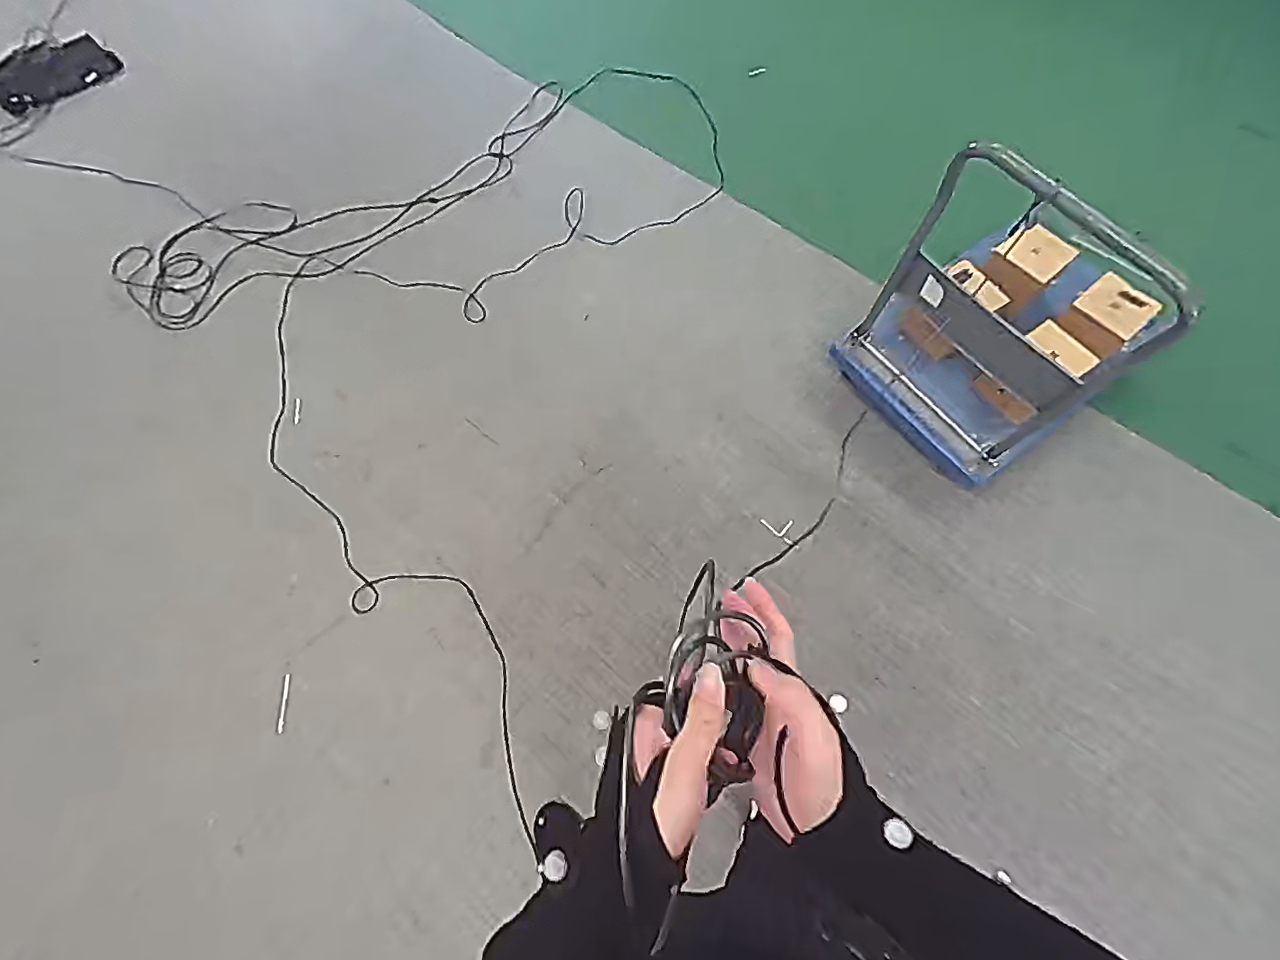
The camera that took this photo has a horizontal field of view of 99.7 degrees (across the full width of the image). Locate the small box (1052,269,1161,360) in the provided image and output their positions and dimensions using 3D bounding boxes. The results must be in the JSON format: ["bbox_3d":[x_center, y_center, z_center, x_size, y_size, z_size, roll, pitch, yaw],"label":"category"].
[{"bbox_3d":[1.284,-0.448,1.529,0.179,0.176,0.168,-38,72,-13],"label":"small box"}]

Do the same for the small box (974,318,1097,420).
[{"bbox_3d":[1.066,-0.298,1.473,0.179,0.176,0.168,-33,72,-12],"label":"small box"}]

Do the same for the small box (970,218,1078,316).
[{"bbox_3d":[1.122,-0.625,1.603,0.179,0.176,0.168,-38,73,-14],"label":"small box"}]
